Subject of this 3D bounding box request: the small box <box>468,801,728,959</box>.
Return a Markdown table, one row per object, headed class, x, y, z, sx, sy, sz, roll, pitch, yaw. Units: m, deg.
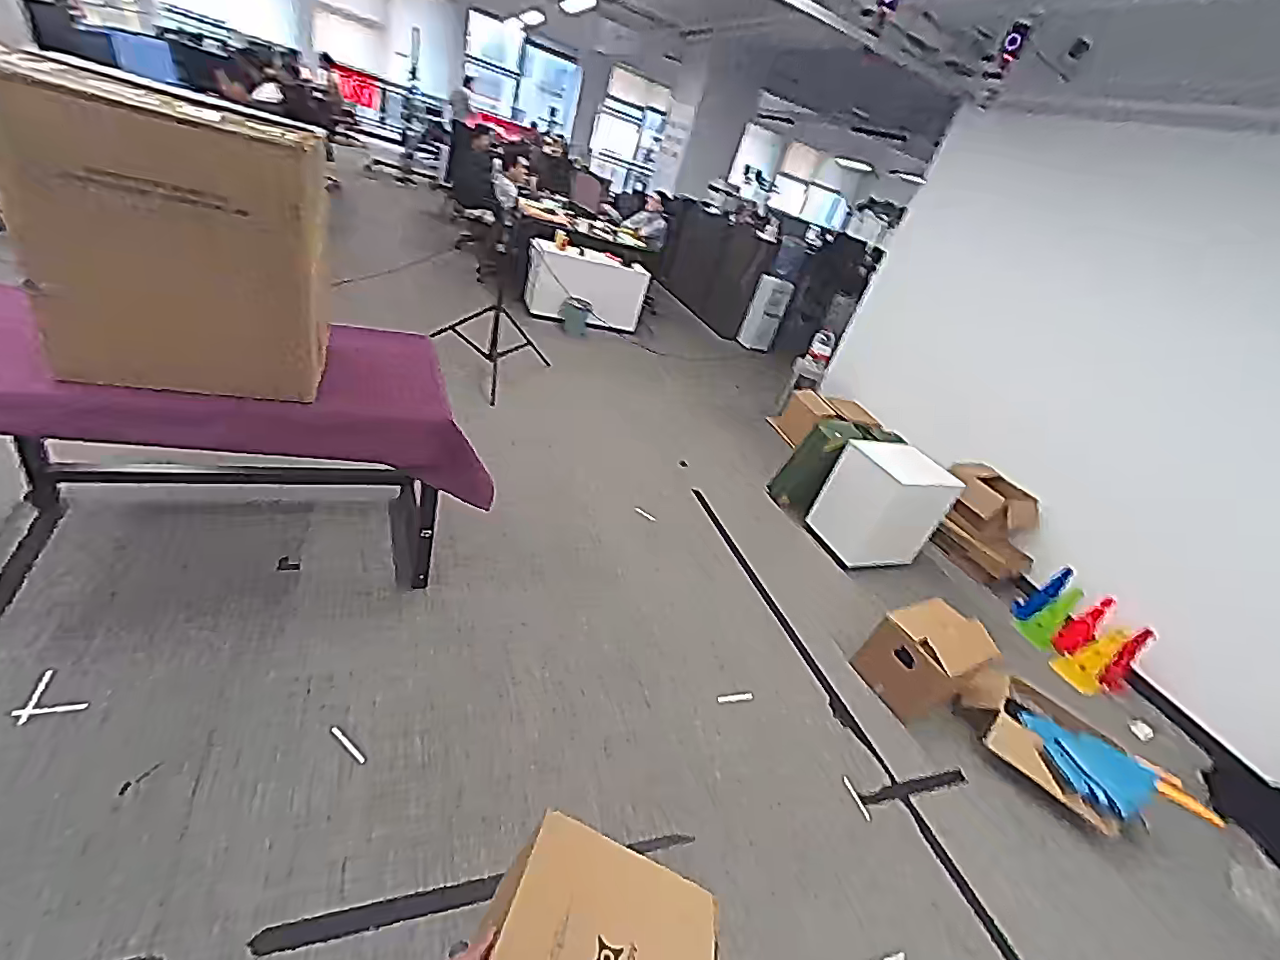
| class | x | y | z | sx | sy | sz | roll | pitch | yaw |
| --- | --- | --- | --- | --- | --- | --- | --- | --- | --- |
| small box | -0.048 | 0.412 | 0.433 | 0.179 | 0.176 | 0.168 | 26 | 24 | -1 |
